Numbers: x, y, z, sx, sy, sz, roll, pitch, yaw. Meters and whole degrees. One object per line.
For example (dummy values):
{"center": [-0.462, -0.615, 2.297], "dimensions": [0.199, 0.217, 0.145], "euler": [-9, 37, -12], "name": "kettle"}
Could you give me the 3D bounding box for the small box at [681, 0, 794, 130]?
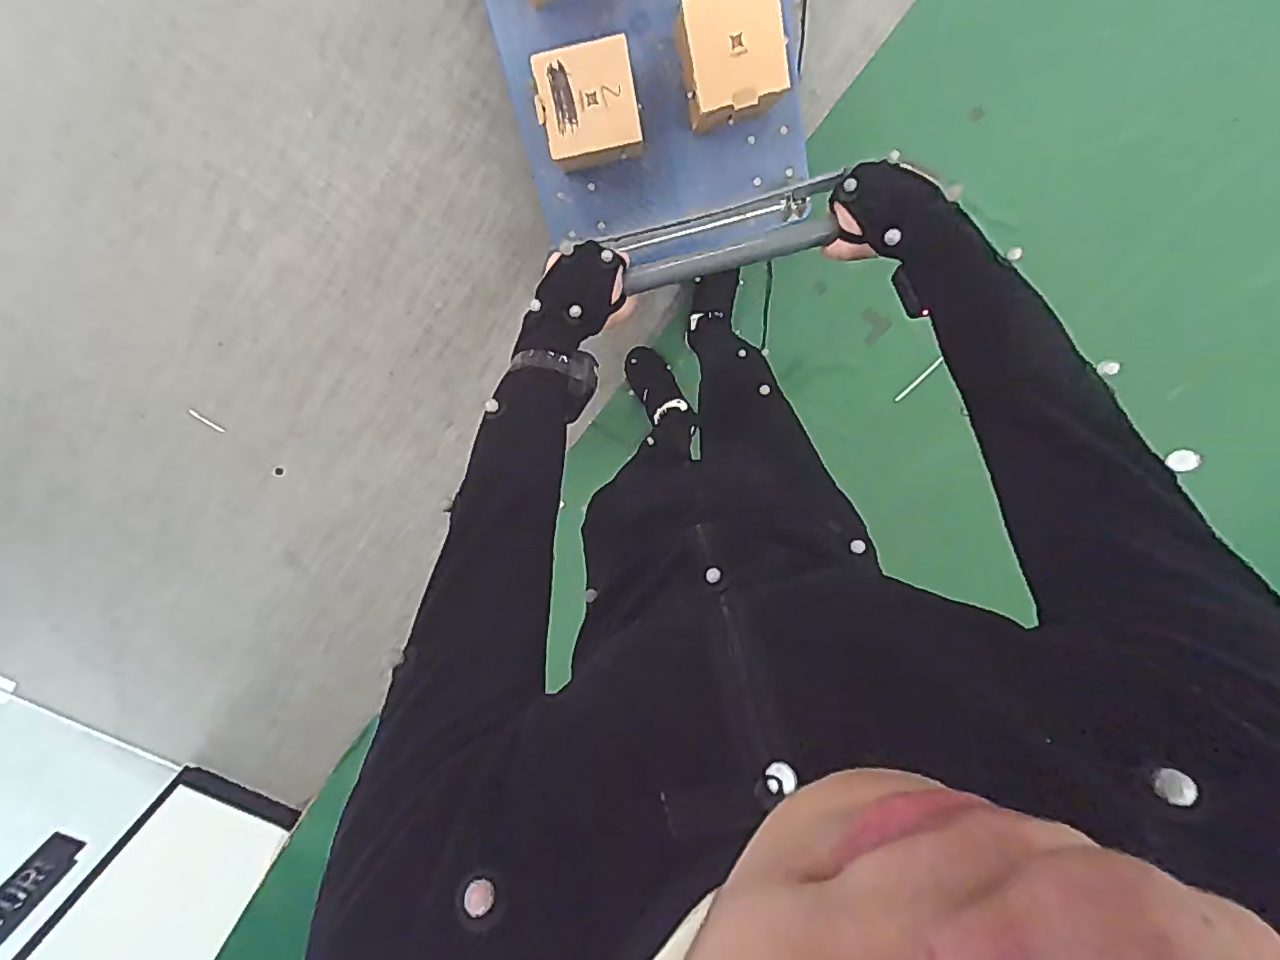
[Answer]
{"center": [0.177, -0.790, 1.013], "dimensions": [0.168, 0.176, 0.179], "euler": [-13, 113, 6], "name": "small box"}
